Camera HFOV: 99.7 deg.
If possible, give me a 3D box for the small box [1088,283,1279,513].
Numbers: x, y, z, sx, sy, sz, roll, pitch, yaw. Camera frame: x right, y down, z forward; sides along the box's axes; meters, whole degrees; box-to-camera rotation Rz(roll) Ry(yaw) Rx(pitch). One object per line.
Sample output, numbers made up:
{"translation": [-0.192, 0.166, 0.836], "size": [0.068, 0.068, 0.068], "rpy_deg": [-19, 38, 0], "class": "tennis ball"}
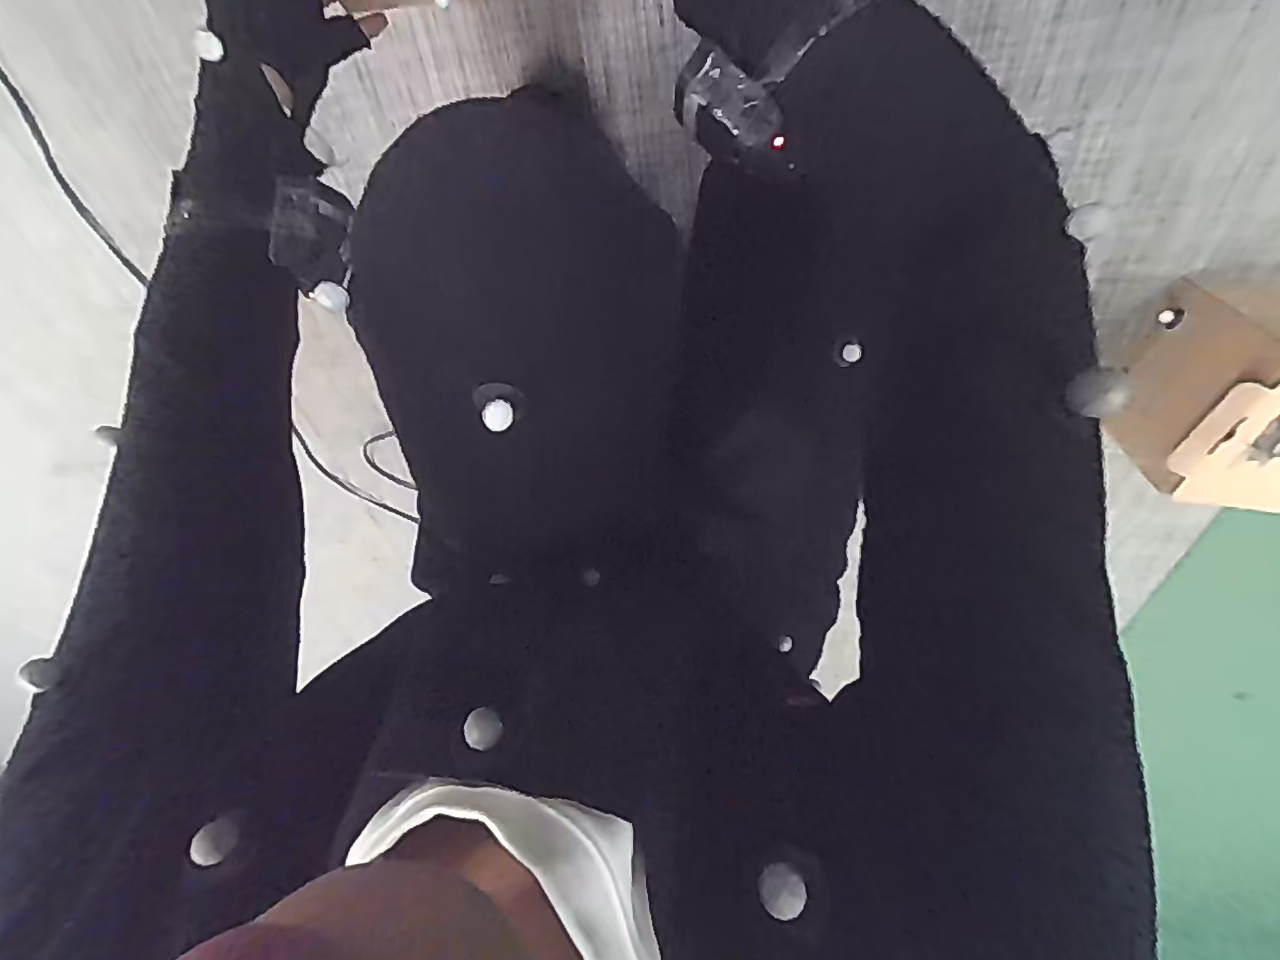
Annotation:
{"translation": [0.627, -0.087, 0.558], "size": [0.179, 0.176, 0.168], "rpy_deg": [7, 133, 3], "class": "small box"}
